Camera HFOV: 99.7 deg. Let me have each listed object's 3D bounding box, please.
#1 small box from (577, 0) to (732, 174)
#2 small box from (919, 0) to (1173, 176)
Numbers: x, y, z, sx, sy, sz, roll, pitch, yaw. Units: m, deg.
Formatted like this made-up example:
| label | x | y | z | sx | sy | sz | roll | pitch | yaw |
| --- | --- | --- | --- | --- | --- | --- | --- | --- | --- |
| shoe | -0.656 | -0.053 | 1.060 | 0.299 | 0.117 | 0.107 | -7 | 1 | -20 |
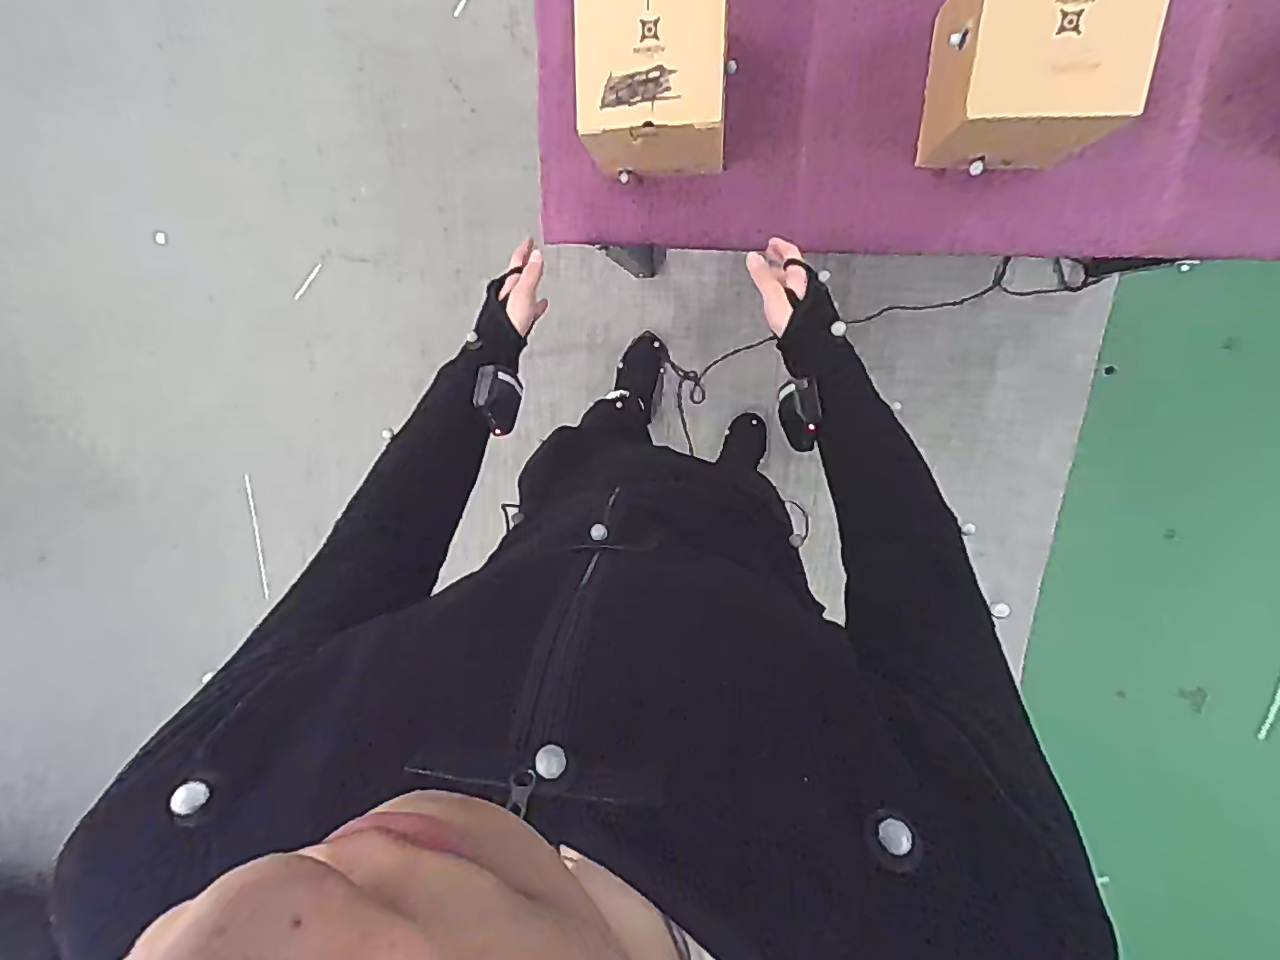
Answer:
| label | x | y | z | sx | sy | sz | roll | pitch | yaw |
| --- | --- | --- | --- | --- | --- | --- | --- | --- | --- |
| small box | 0.024 | -0.487 | 0.655 | 0.168 | 0.176 | 0.179 | 2 | 103 | 7 |
| small box | 0.435 | -0.464 | 0.603 | 0.168 | 0.176 | 0.179 | 5 | 104 | 8 |
